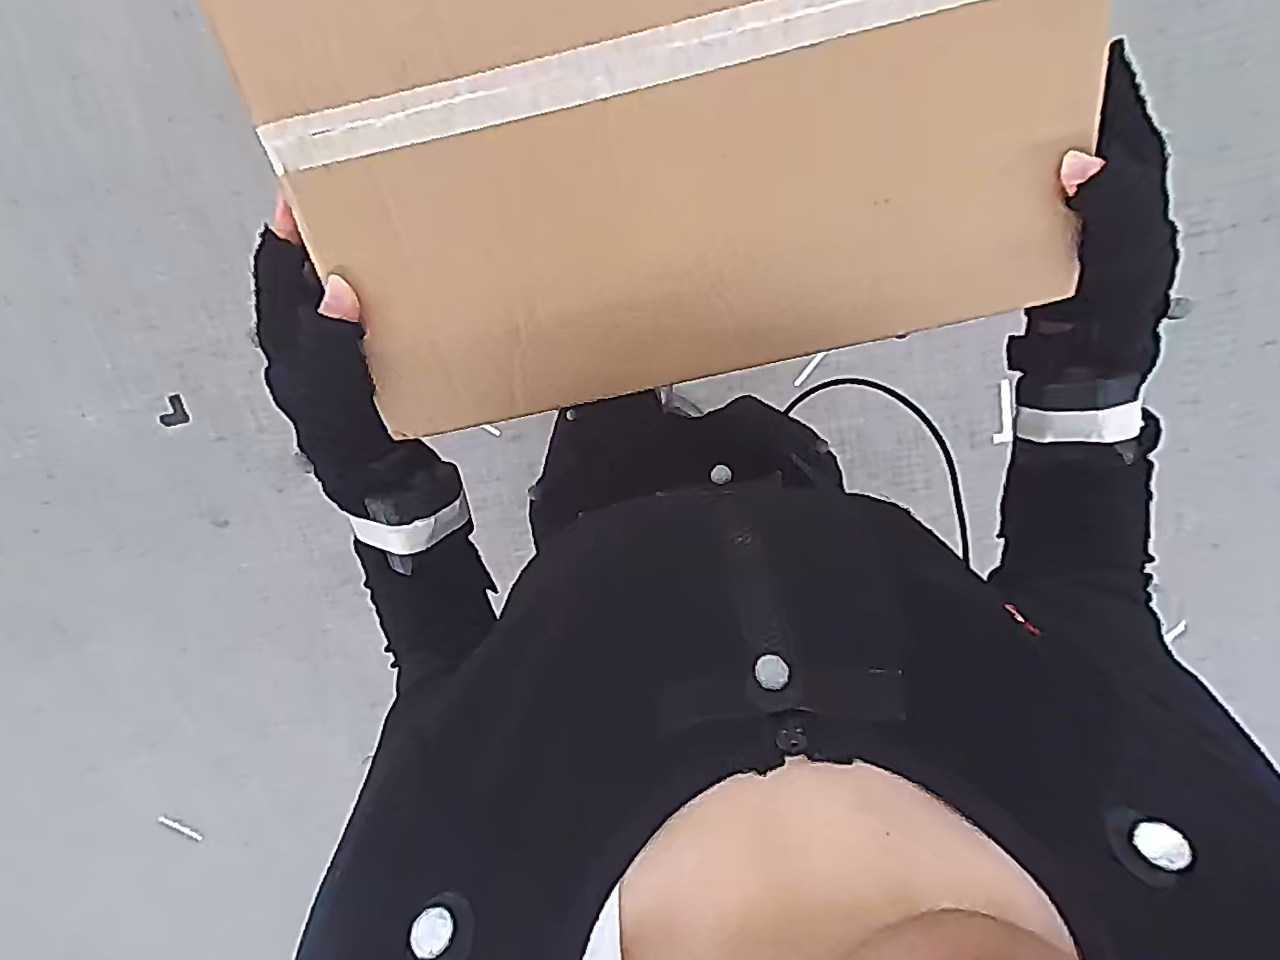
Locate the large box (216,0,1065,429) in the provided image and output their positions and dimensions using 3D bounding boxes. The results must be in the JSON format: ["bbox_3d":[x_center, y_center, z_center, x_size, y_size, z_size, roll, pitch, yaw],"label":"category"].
[{"bbox_3d":[0.006,-0.271,0.400,0.408,0.320,0.320,-12,114,3],"label":"large box"}]
